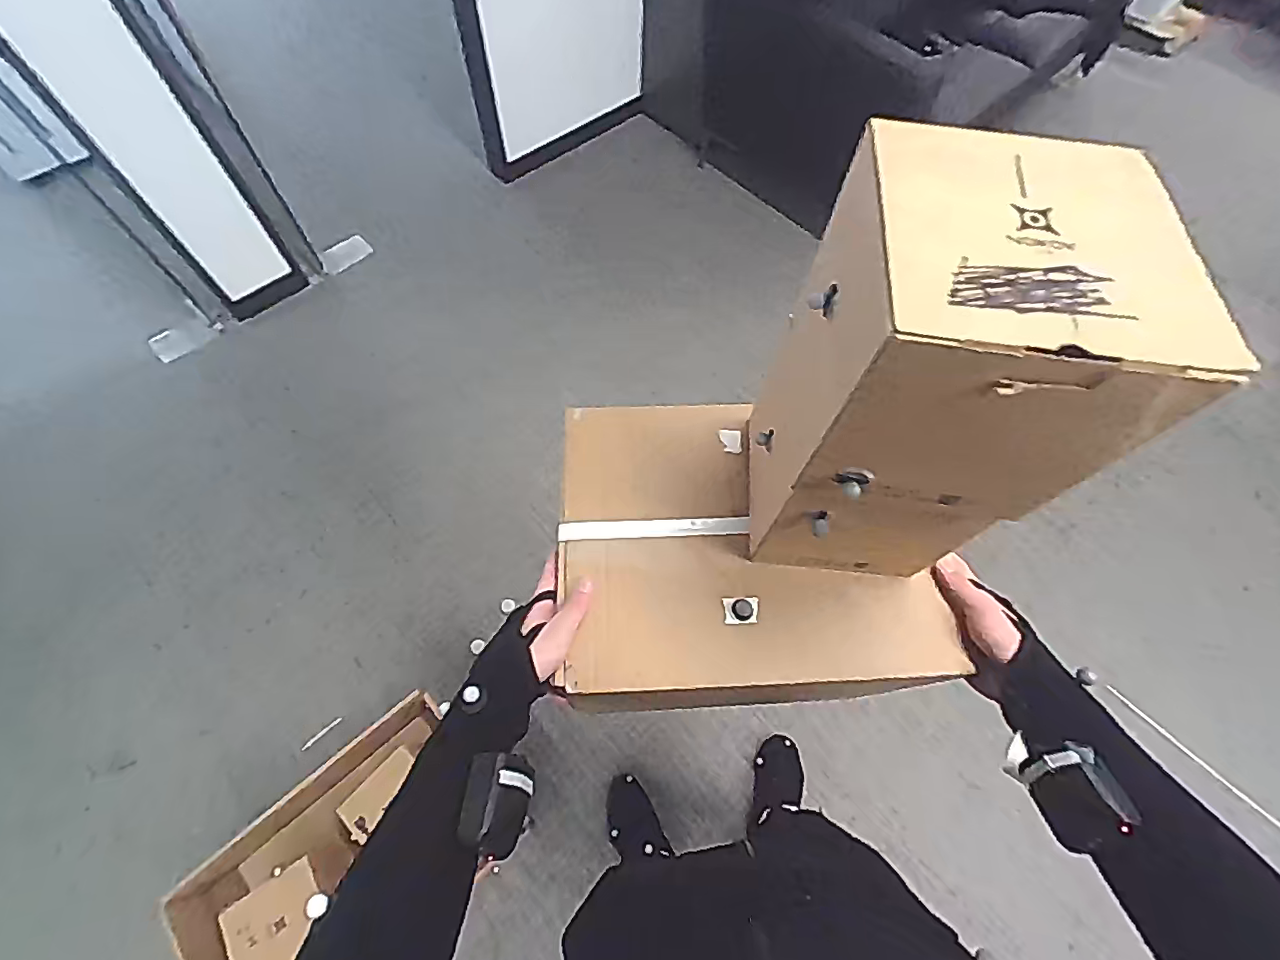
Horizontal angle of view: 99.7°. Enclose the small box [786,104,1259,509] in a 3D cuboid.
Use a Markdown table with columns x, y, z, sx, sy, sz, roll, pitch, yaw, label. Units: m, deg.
| x | y | z | sx | sy | sz | roll | pitch | yaw | label |
| --- | --- | --- | --- | --- | --- | --- | --- | --- | --- |
| 0.197 | -0.097 | 0.346 | 0.168 | 0.176 | 0.179 | 8 | 62 | 2 | small box |
